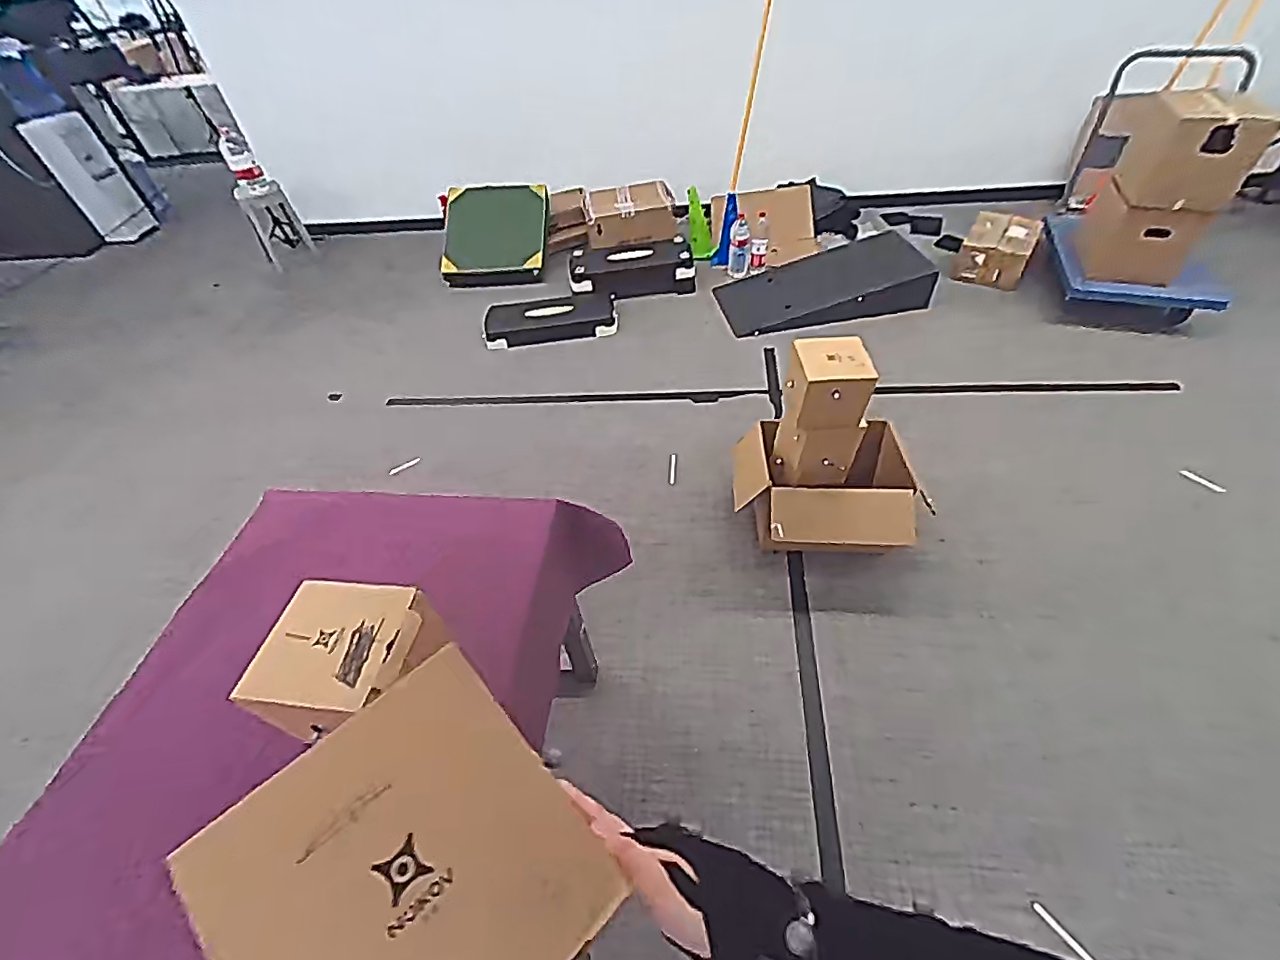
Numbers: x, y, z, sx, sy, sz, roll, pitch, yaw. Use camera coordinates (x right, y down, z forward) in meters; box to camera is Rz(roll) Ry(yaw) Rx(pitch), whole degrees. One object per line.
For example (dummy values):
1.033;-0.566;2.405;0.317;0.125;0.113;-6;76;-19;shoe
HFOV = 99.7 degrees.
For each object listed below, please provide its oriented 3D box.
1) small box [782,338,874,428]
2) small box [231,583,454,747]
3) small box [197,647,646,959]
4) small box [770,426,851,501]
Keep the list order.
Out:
0.480;-0.250;1.416;0.179;0.176;0.168;-3;51;-1;small box
-0.381;0.260;0.736;0.179;0.176;0.168;2;47;10;small box
-0.118;0.244;0.347;0.168;0.176;0.179;-35;68;-25;small box
0.518;-0.056;1.681;0.179;0.176;0.168;-13;51;-10;small box
